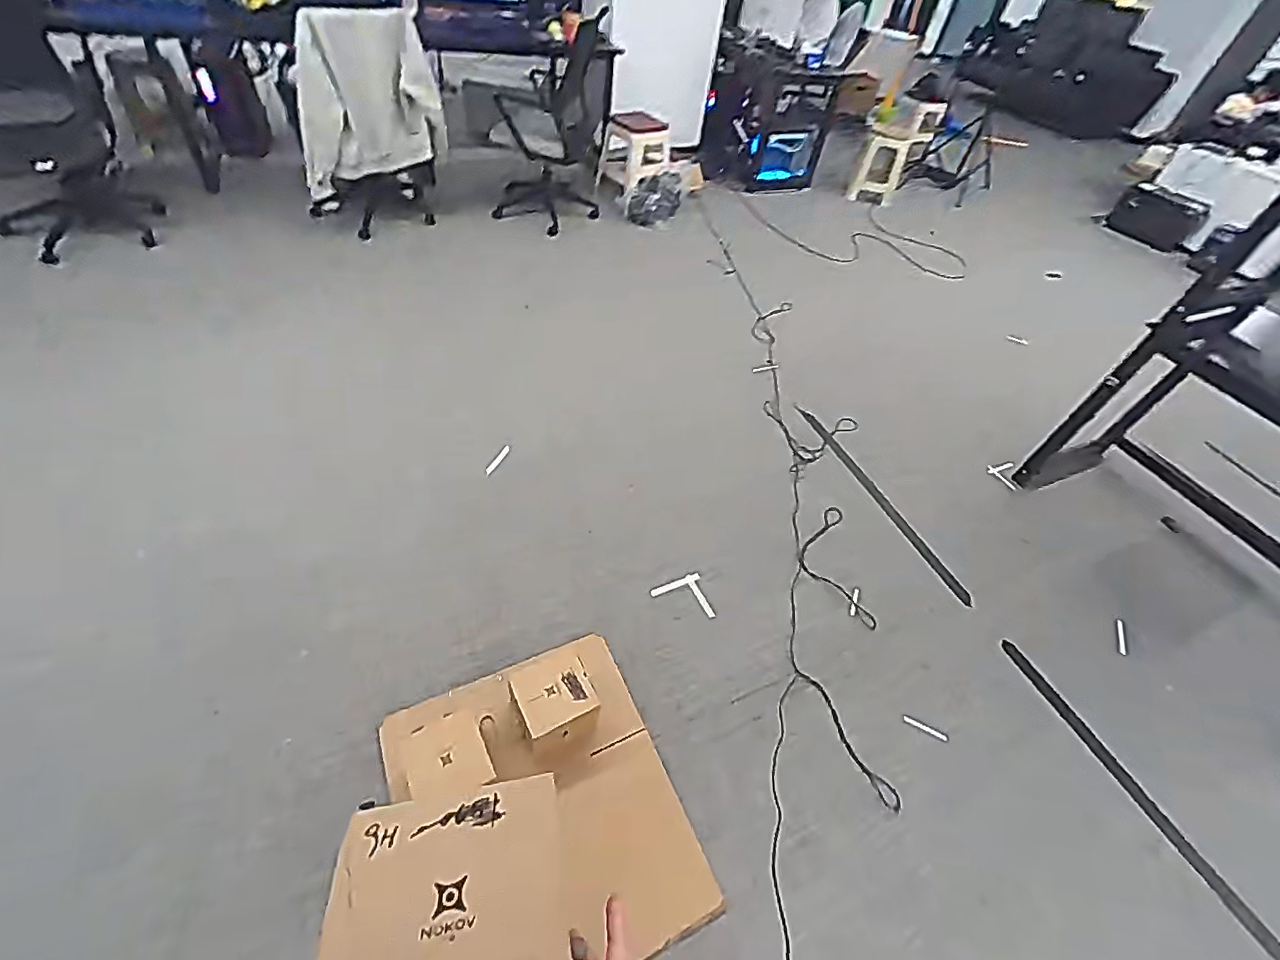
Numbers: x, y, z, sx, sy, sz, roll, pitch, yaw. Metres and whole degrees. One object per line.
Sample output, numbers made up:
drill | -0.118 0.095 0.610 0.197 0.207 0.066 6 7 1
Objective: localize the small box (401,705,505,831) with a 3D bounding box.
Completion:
small box | -0.417 0.651 1.219 0.168 0.176 0.179 -22 56 -24

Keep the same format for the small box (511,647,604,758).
small box | -0.207 0.551 1.337 0.179 0.176 0.168 -20 55 -24
